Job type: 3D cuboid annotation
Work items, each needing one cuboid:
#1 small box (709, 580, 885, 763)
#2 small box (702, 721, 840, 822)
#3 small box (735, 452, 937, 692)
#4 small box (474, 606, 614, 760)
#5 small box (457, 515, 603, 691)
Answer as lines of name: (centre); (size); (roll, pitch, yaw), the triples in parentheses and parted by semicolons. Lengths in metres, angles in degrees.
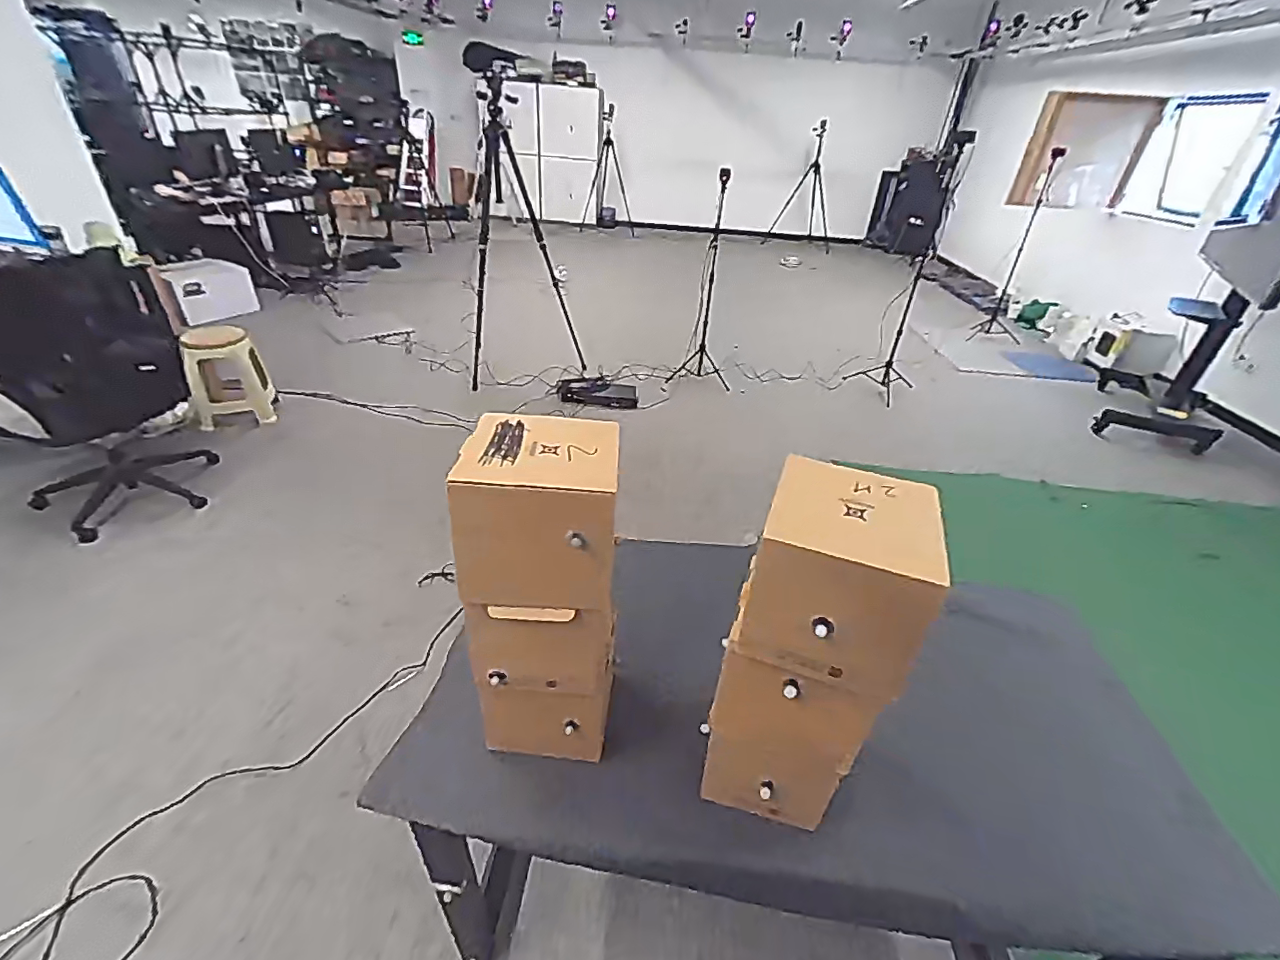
small box: (0.198, 0.227, 0.693); (0.179, 0.176, 0.168); (13, 34, 15)
small box: (0.188, 0.358, 0.790); (0.168, 0.176, 0.179); (10, 34, 11)
small box: (0.207, 0.096, 0.592); (0.168, 0.176, 0.179); (14, 34, 16)
small box: (-0.137, 0.307, 0.839); (0.179, 0.176, 0.168); (4, 32, 2)
small box: (-0.138, 0.169, 0.749); (0.168, 0.176, 0.179); (3, 31, -2)
